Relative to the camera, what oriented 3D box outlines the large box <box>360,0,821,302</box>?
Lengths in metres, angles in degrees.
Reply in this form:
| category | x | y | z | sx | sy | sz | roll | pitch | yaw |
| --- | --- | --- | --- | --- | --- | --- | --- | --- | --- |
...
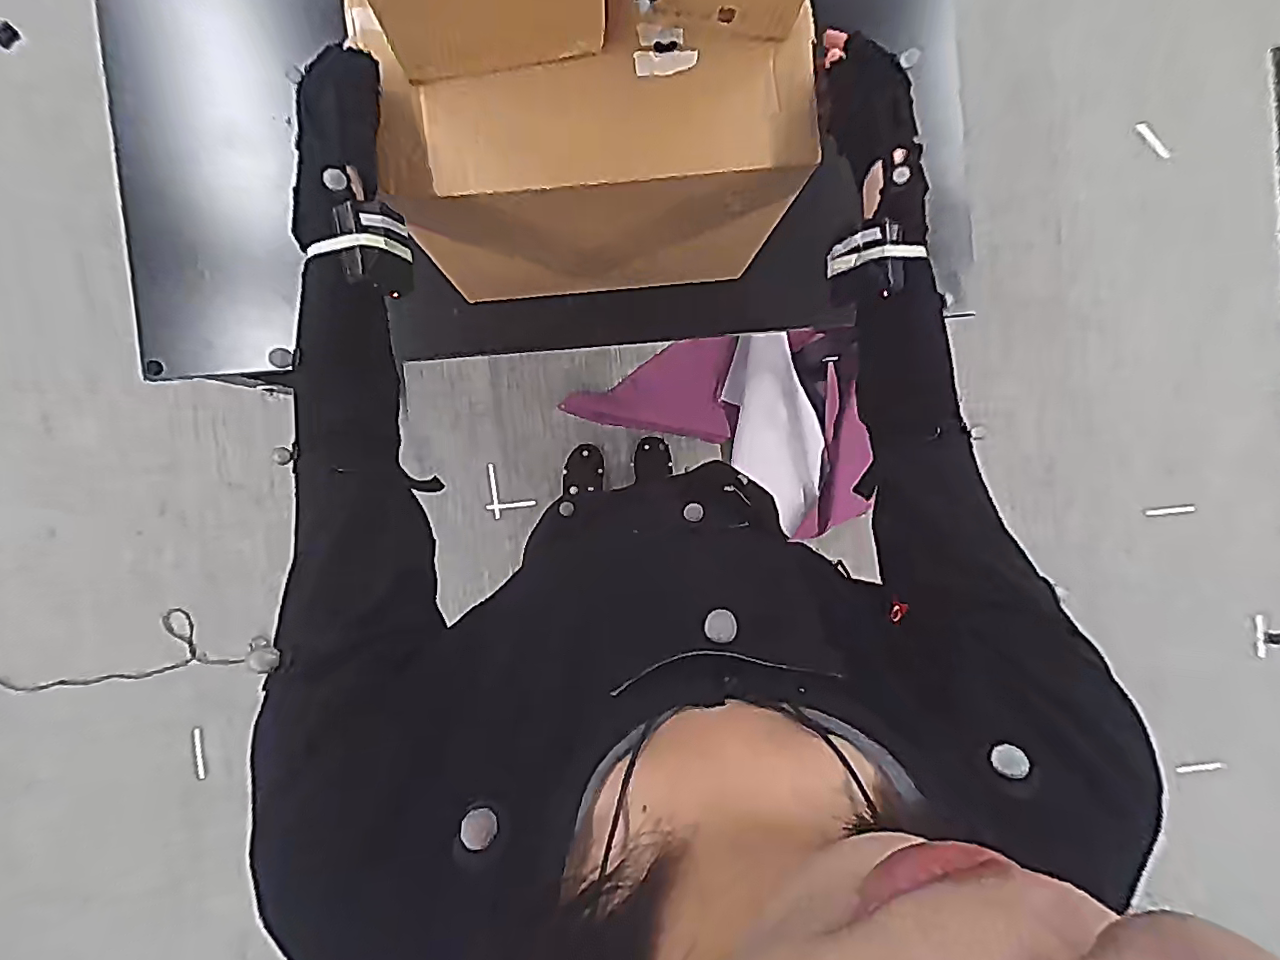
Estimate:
| category | x | y | z | sx | sy | sz | roll | pitch | yaw |
| --- | --- | --- | --- | --- | --- | --- | --- | --- | --- |
| large box | -0.059 | -0.428 | 0.634 | 0.408 | 0.320 | 0.320 | -8 | 92 | -4 |

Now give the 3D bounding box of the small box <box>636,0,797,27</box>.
| category | x | y | z | sx | sy | sz | roll | pitch | yaw |
| --- | --- | --- | --- | --- | --- | --- | --- | --- | --- |
| small box | 0.063 | -0.487 | 0.396 | 0.168 | 0.176 | 0.179 | 5 | 90 | -3 |
